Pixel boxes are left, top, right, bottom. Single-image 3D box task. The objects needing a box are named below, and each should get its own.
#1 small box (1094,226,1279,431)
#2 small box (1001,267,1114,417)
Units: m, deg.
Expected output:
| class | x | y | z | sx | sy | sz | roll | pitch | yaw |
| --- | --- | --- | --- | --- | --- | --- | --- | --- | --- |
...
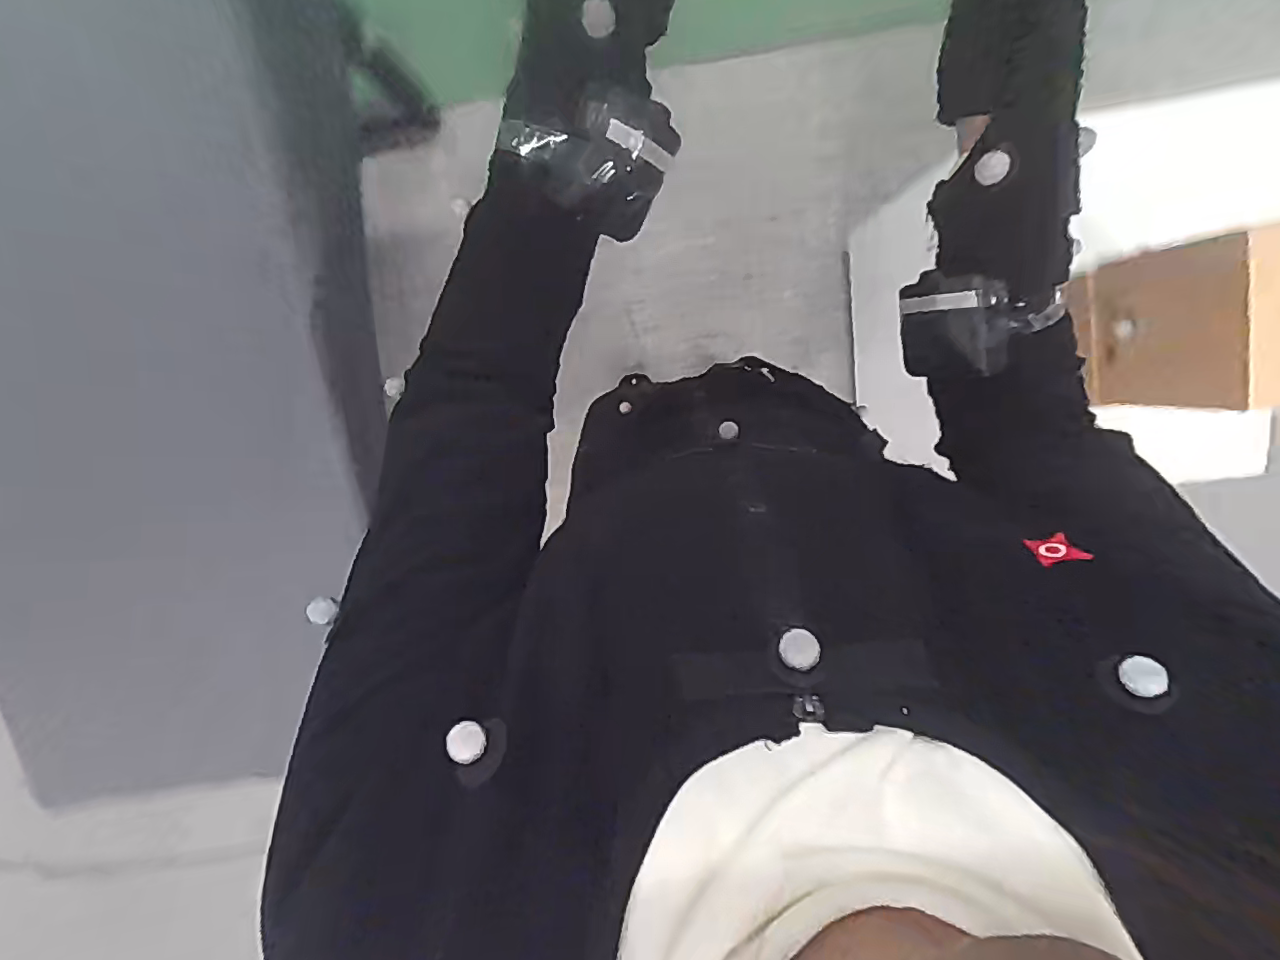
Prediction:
| class | x | y | z | sx | sy | sz | roll | pitch | yaw |
| --- | --- | --- | --- | --- | --- | --- | --- | --- | --- |
| small box | 0.592 | -0.152 | 0.519 | 0.179 | 0.176 | 0.168 | -12 | 100 | 4 |
| small box | 0.596 | -0.180 | 0.680 | 0.179 | 0.176 | 0.168 | -10 | 100 | 6 |
